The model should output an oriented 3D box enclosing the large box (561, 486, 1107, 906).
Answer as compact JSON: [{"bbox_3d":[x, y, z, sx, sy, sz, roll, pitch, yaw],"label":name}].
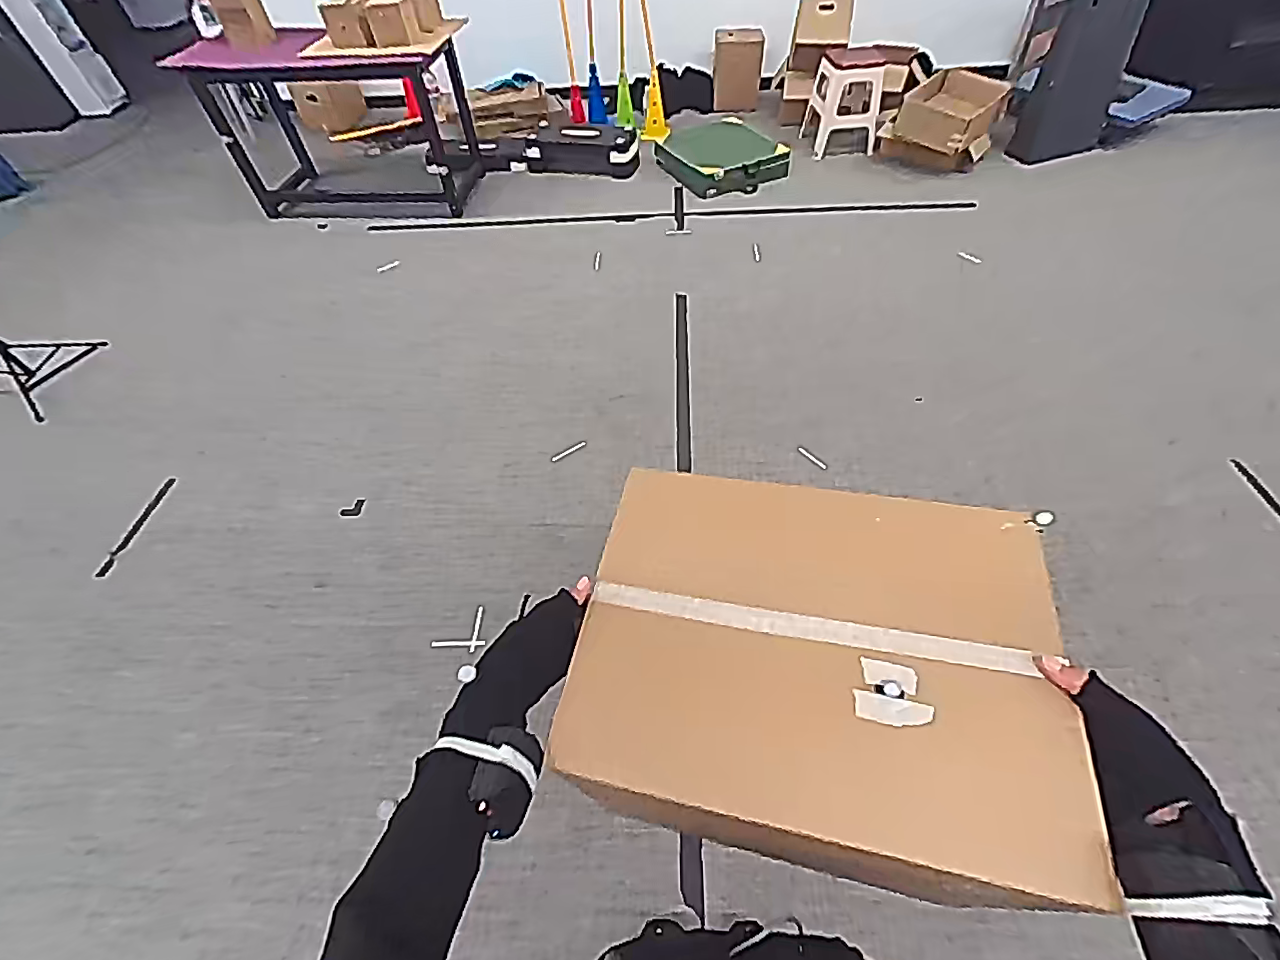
[{"bbox_3d":[0.171,0.236,0.607,0.408,0.320,0.320,7,55,13],"label":"large box"}]
